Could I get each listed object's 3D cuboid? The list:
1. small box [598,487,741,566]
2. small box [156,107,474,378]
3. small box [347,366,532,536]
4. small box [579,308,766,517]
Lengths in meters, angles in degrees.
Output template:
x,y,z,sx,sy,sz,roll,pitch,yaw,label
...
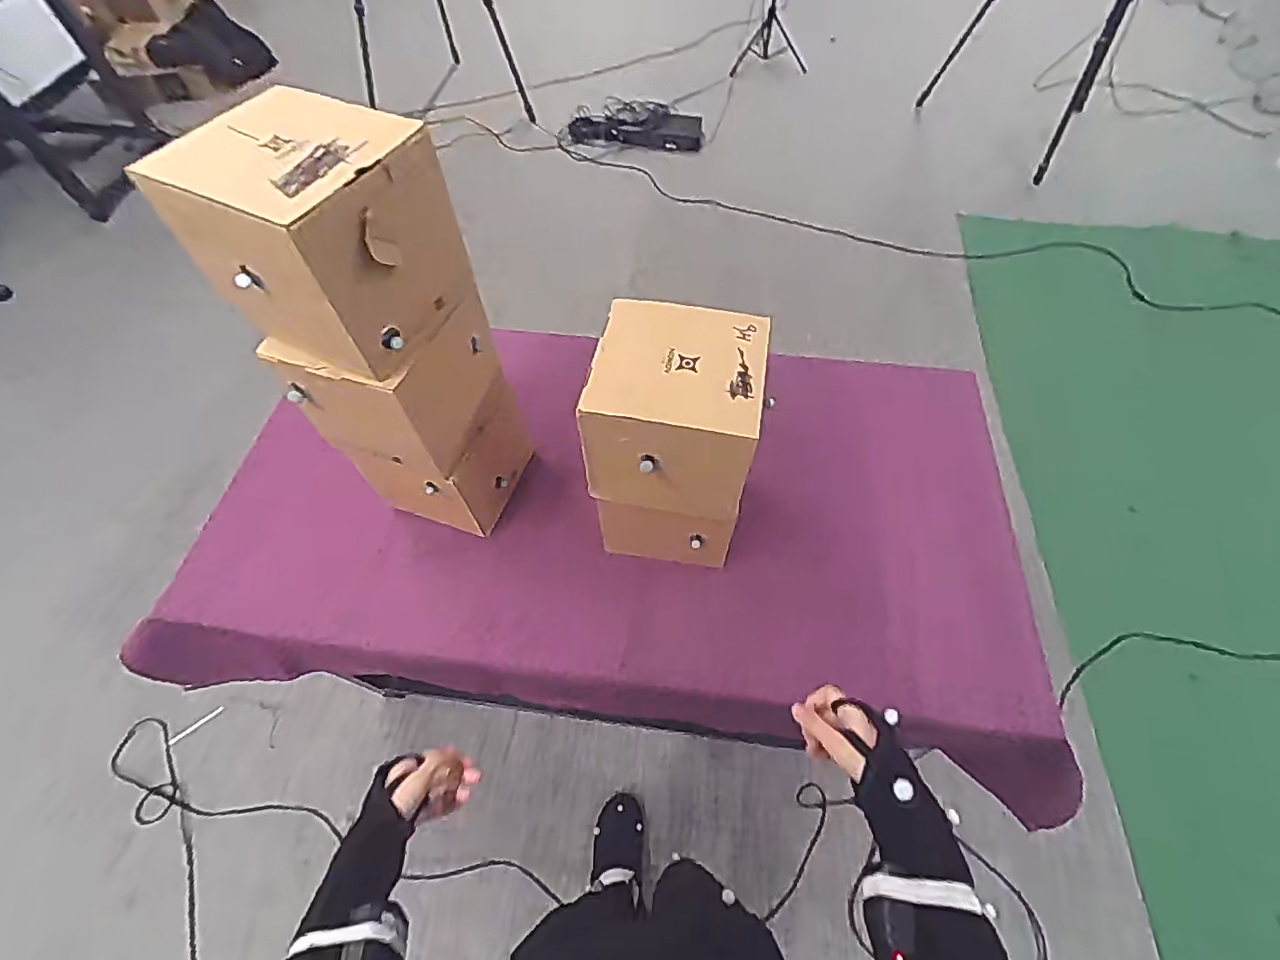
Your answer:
x,y,z,sx,sy,sz,roll,pitch,yaw,label
0.046,0.010,0.773,0.179,0.176,0.168,7,57,6,small box
-0.294,-0.228,0.538,0.179,0.176,0.168,22,59,14,small box
-0.282,-0.037,0.807,0.179,0.176,0.168,16,59,9,small box
0.041,-0.074,0.631,0.179,0.176,0.168,9,58,7,small box
